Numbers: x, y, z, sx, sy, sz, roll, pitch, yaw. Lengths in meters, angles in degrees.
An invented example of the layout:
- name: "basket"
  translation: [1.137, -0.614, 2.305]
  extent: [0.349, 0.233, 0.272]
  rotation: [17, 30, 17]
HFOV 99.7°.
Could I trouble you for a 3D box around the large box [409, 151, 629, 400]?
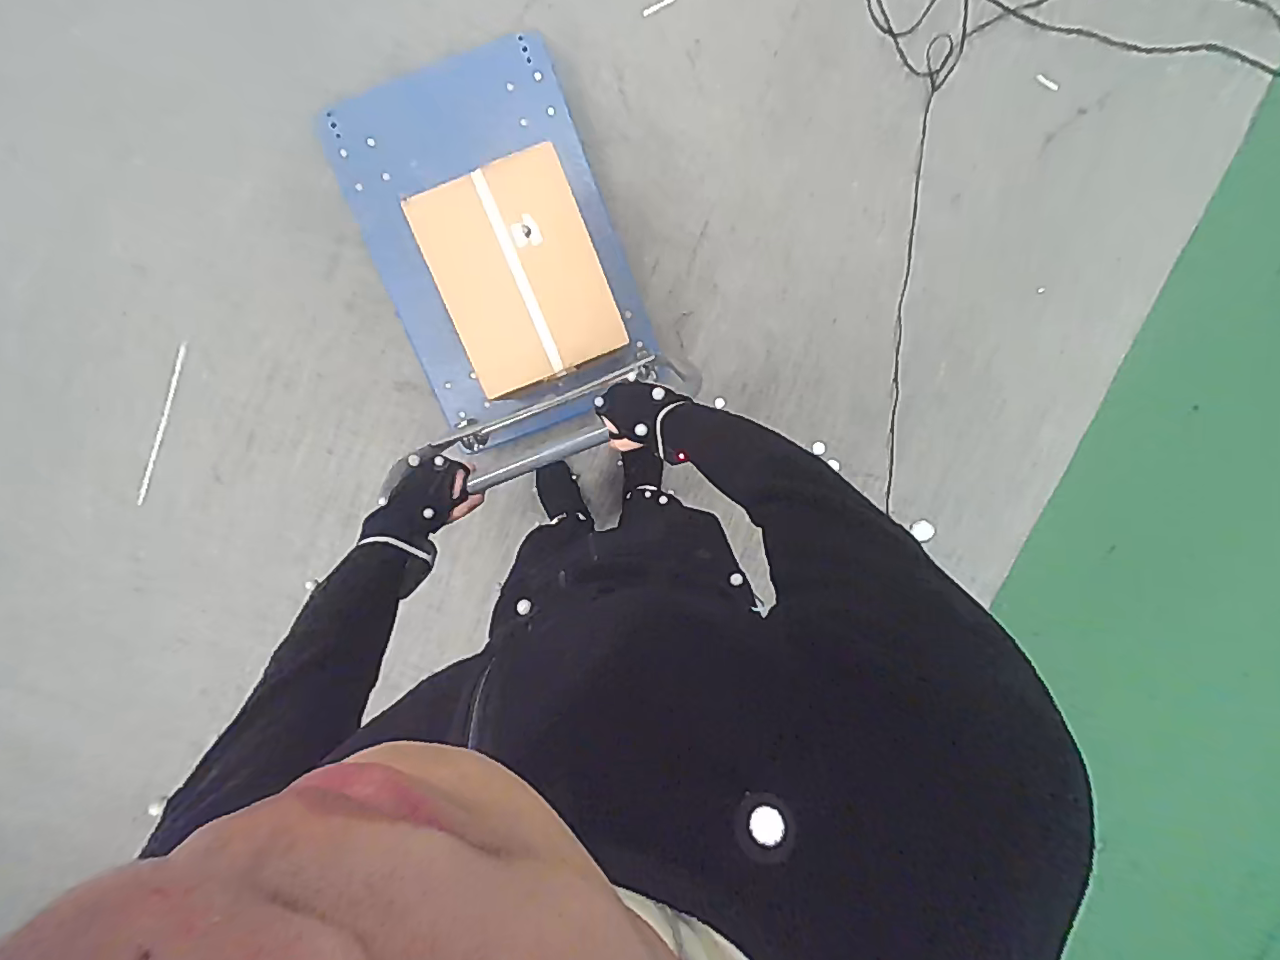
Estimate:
- name: "large box"
  translation: [-0.241, -0.424, 1.224]
  extent: [0.320, 0.320, 0.408]
  rotation: [-22, 99, -1]
